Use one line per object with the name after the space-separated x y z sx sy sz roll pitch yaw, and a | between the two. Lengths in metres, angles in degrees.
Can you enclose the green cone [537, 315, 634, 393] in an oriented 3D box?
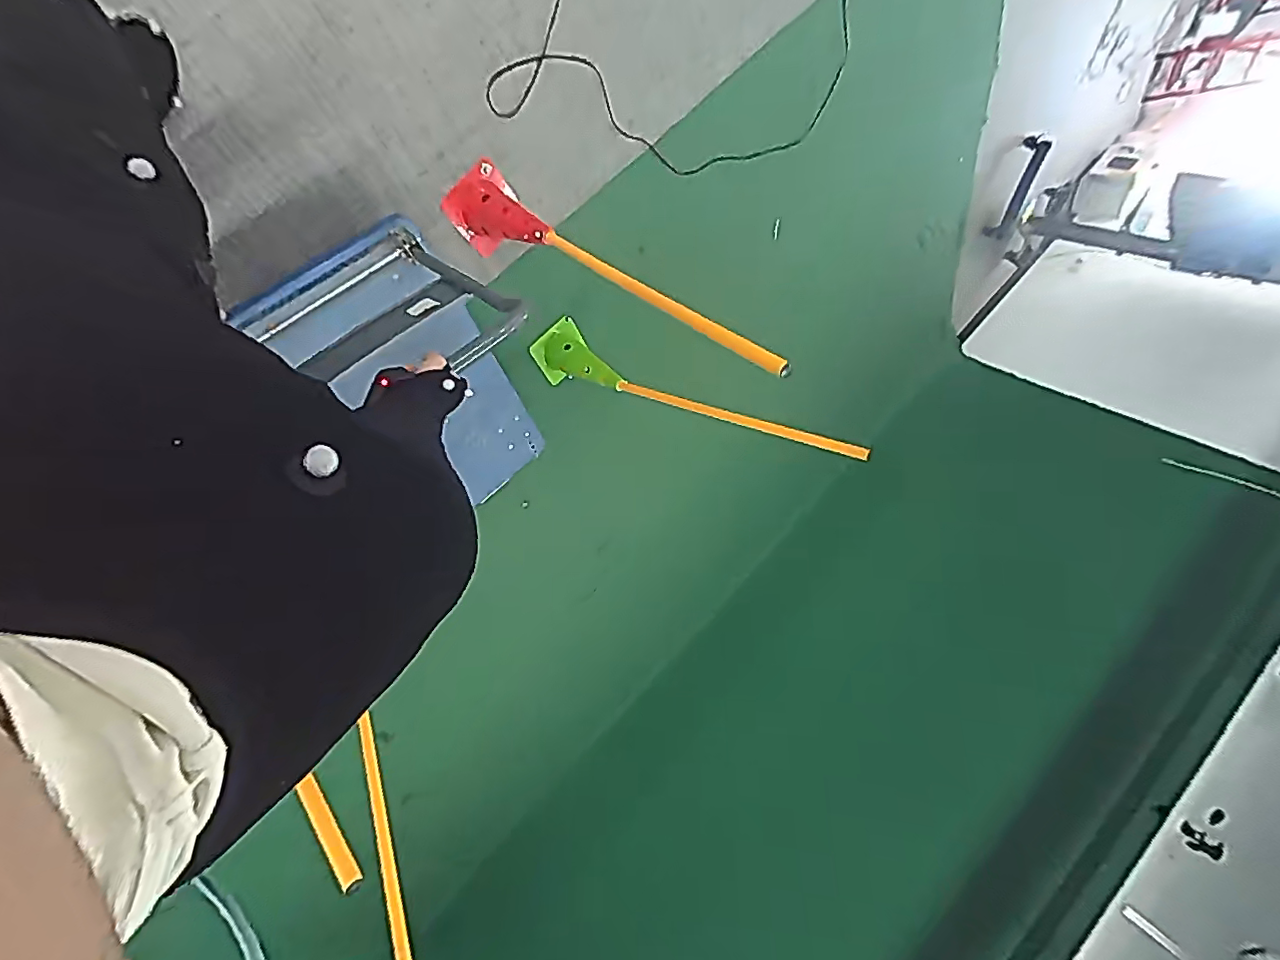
-0.156 -0.392 1.875 0.200 0.368 0.202 -46 144 -10 | green cone
